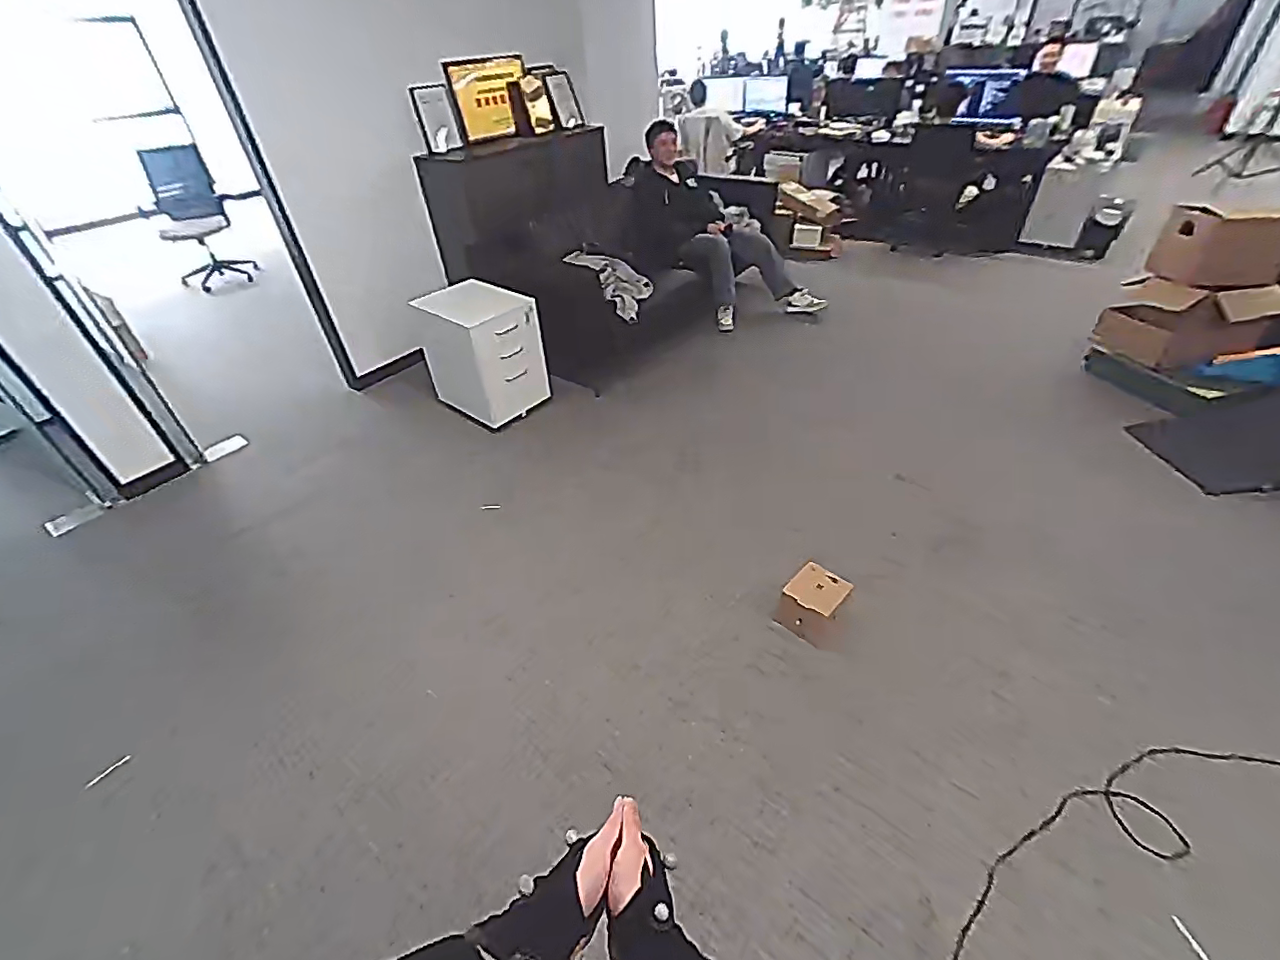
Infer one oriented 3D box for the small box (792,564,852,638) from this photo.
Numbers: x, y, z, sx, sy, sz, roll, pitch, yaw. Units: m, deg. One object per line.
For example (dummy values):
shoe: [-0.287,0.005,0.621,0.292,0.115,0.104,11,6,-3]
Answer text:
small box: [0.607,0.406,1.811,0.179,0.176,0.168,6,38,15]
